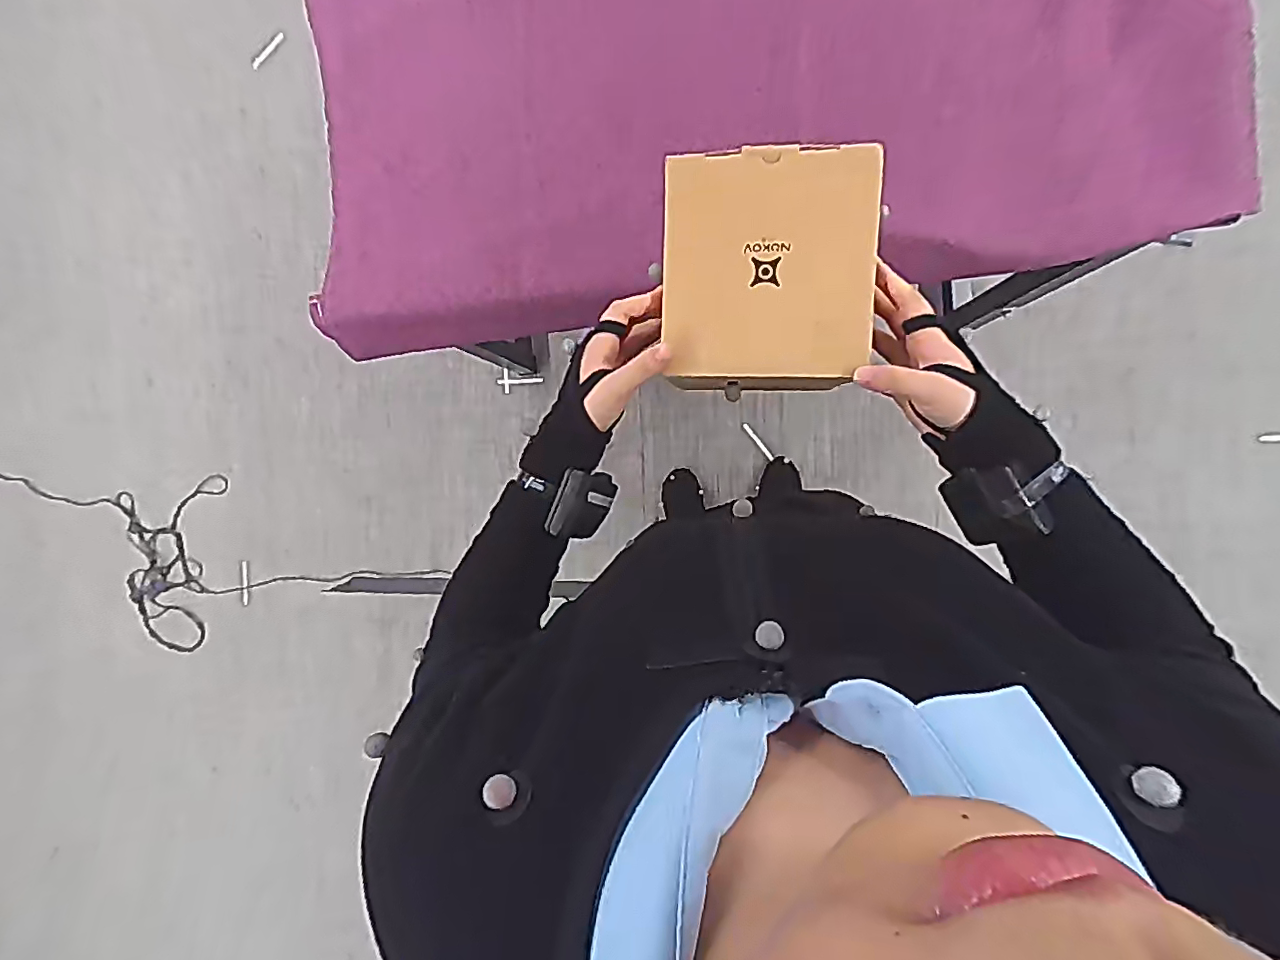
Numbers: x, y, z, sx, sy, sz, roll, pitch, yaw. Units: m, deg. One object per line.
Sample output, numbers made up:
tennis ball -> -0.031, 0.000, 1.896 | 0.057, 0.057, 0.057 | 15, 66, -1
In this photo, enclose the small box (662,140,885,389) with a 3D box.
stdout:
small box -> 0.115, -0.179, 0.504 | 0.168, 0.176, 0.179 | 2, 95, 10
